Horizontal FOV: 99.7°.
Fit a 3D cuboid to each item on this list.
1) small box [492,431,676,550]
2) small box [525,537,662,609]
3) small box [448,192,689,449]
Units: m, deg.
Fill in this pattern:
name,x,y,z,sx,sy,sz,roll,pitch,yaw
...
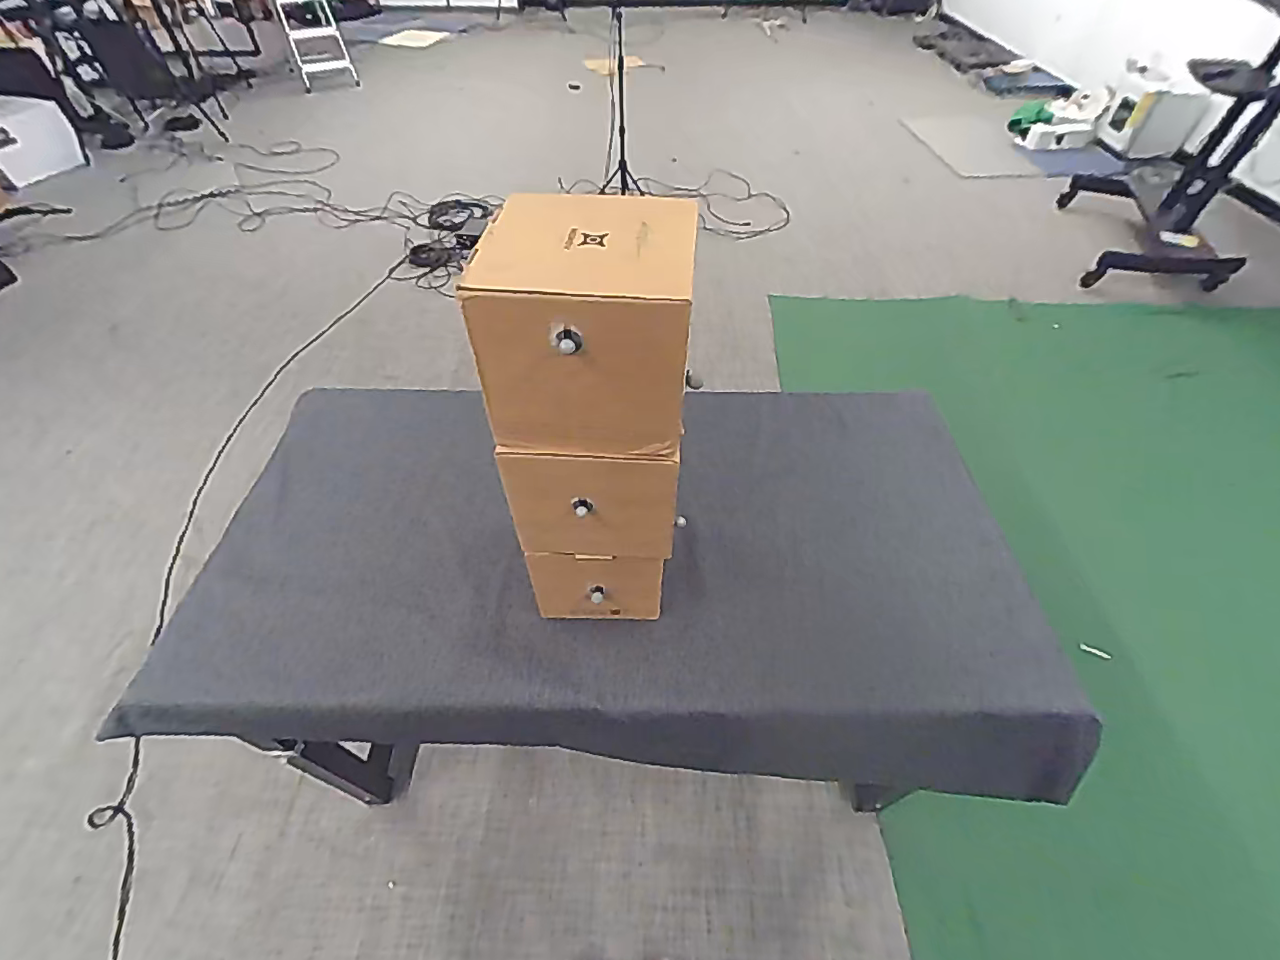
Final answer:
name,x,y,z,sx,sy,sz,roll,pitch,yaw
small box,-0.048,-0.033,0.618,0.179,0.176,0.168,1,49,3
small box,-0.053,0.067,0.749,0.168,0.176,0.179,0,50,1
small box,-0.048,-0.143,0.500,0.179,0.176,0.168,3,51,3
